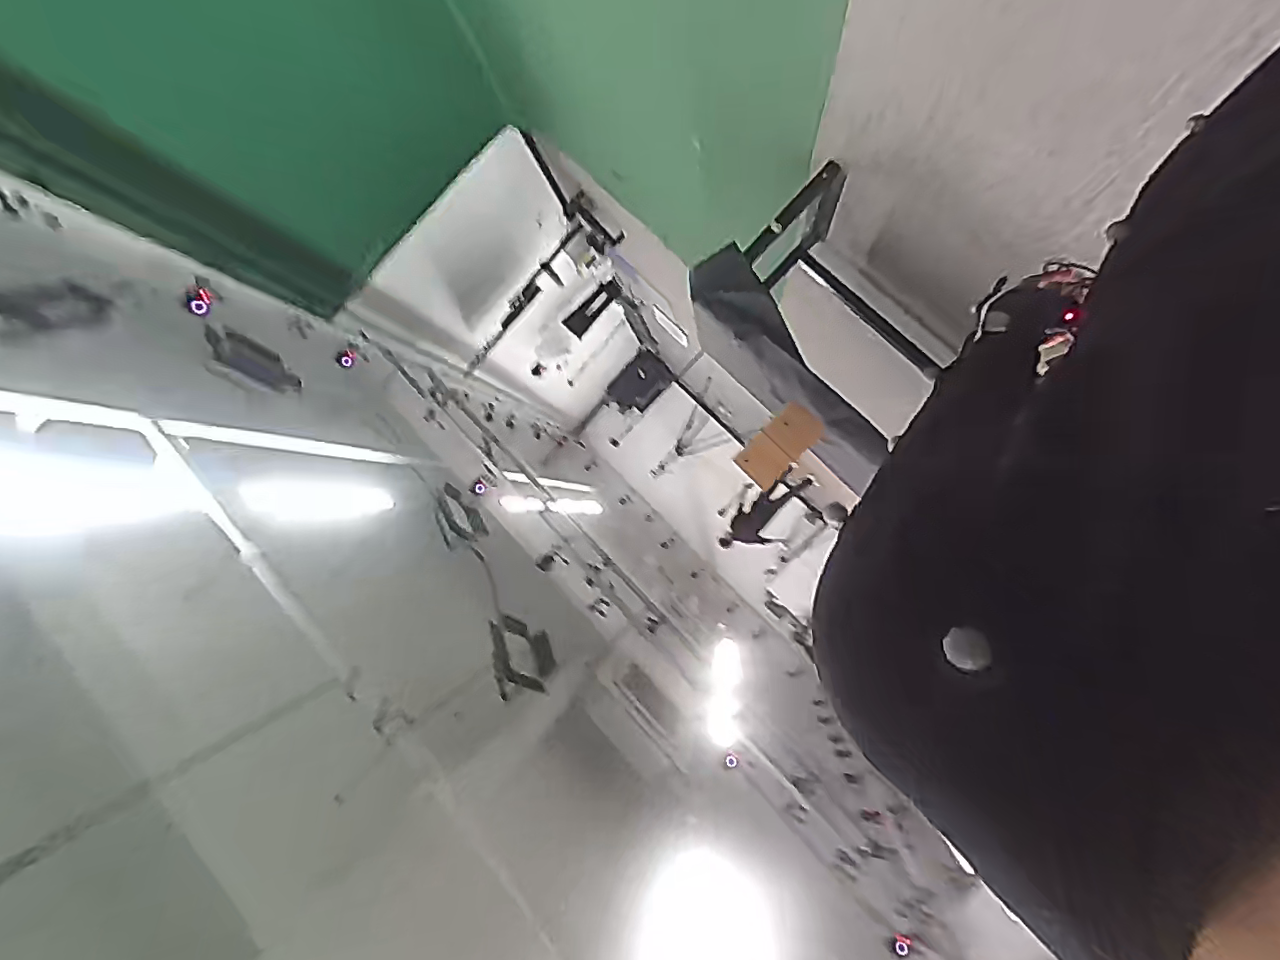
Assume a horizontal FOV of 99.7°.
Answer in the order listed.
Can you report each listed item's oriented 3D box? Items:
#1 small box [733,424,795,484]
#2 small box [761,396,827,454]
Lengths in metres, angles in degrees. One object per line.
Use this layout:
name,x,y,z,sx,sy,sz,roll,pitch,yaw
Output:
small box,0.503,-0.110,2.196,0.179,0.176,0.168,45,-173,0
small box,0.616,-0.225,2.175,0.179,0.176,0.168,44,-173,0
